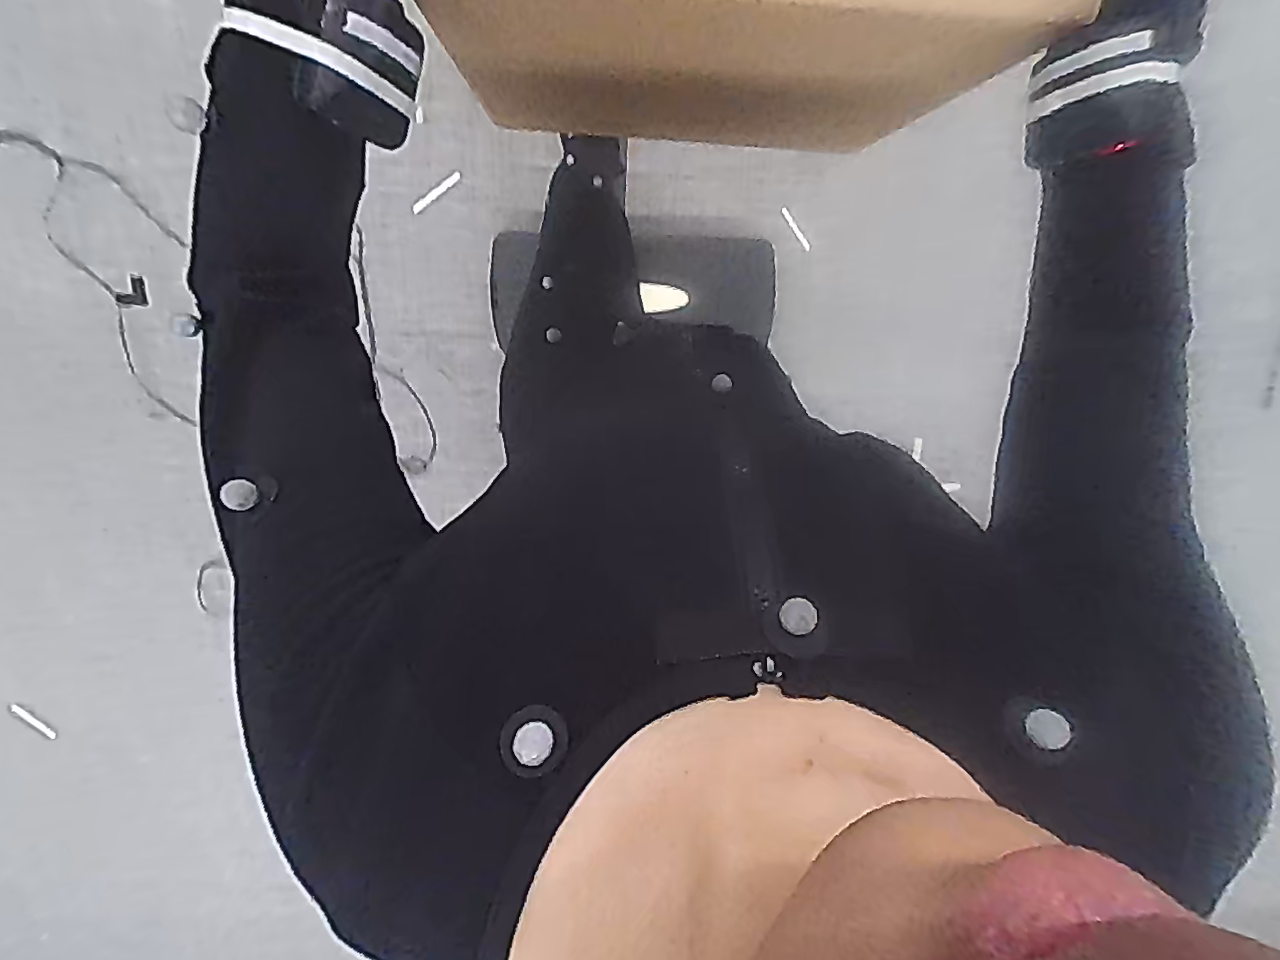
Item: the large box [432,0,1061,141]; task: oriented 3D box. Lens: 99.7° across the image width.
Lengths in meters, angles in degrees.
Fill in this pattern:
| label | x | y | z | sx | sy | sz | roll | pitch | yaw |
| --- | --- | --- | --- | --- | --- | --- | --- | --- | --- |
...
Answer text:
| label | x | y | z | sx | sy | sz | roll | pitch | yaw |
| --- | --- | --- | --- | --- | --- | --- | --- | --- | --- |
| large box | 0.055 | -0.479 | 0.407 | 0.408 | 0.320 | 0.320 | 1 | 109 | -5 |
